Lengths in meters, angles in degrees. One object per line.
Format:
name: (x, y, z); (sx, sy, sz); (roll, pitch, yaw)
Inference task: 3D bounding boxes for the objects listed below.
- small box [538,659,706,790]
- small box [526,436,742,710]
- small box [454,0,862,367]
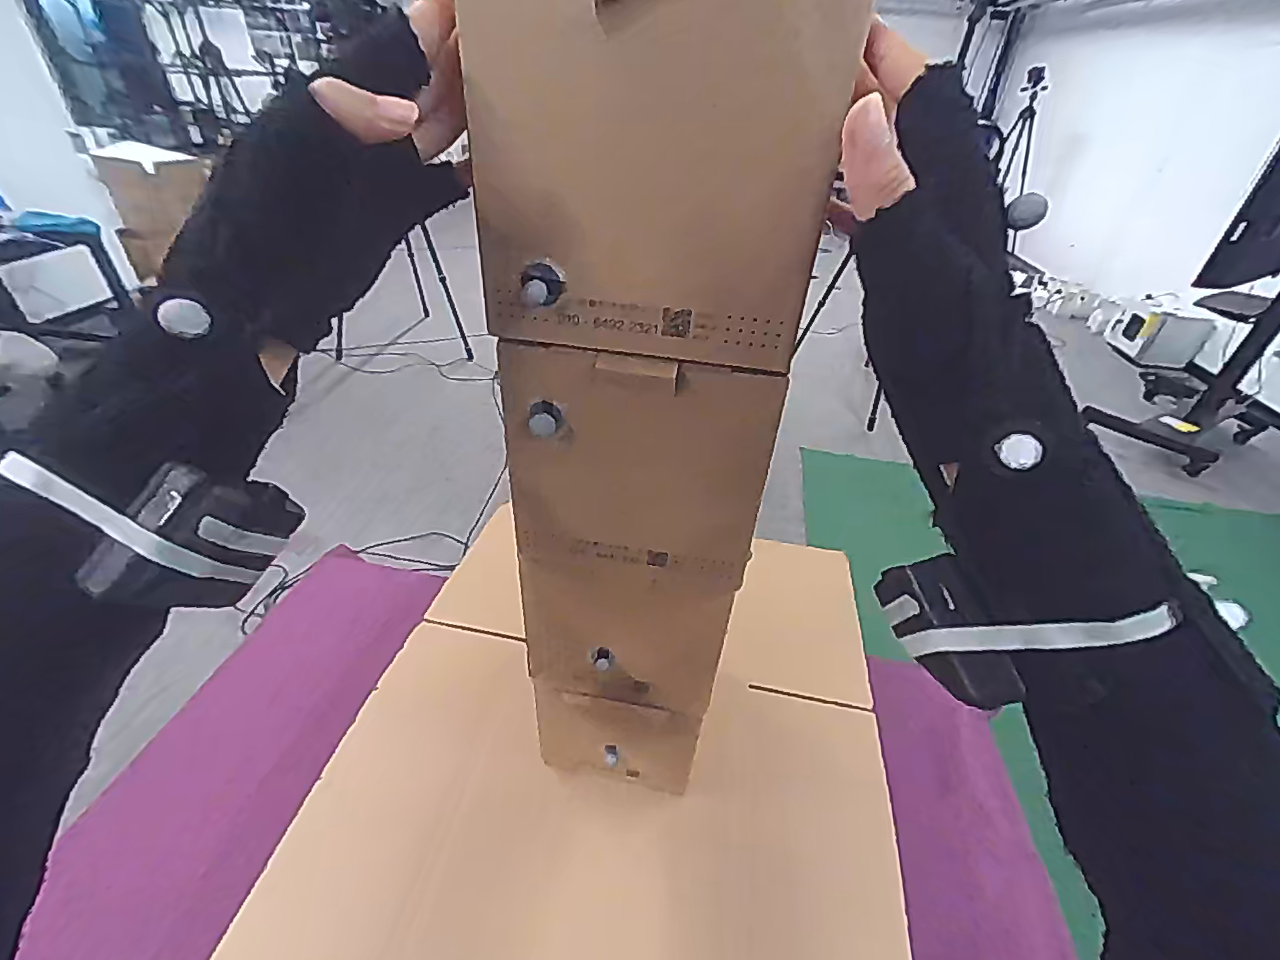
small box: (-0.007, 0.210, 0.615); (0.168, 0.176, 0.179); (9, 36, 8)
small box: (0.000, 0.083, 0.514); (0.168, 0.176, 0.179); (8, 37, 6)
small box: (0.016, -0.179, 0.314); (0.168, 0.176, 0.179); (9, 35, 6)
